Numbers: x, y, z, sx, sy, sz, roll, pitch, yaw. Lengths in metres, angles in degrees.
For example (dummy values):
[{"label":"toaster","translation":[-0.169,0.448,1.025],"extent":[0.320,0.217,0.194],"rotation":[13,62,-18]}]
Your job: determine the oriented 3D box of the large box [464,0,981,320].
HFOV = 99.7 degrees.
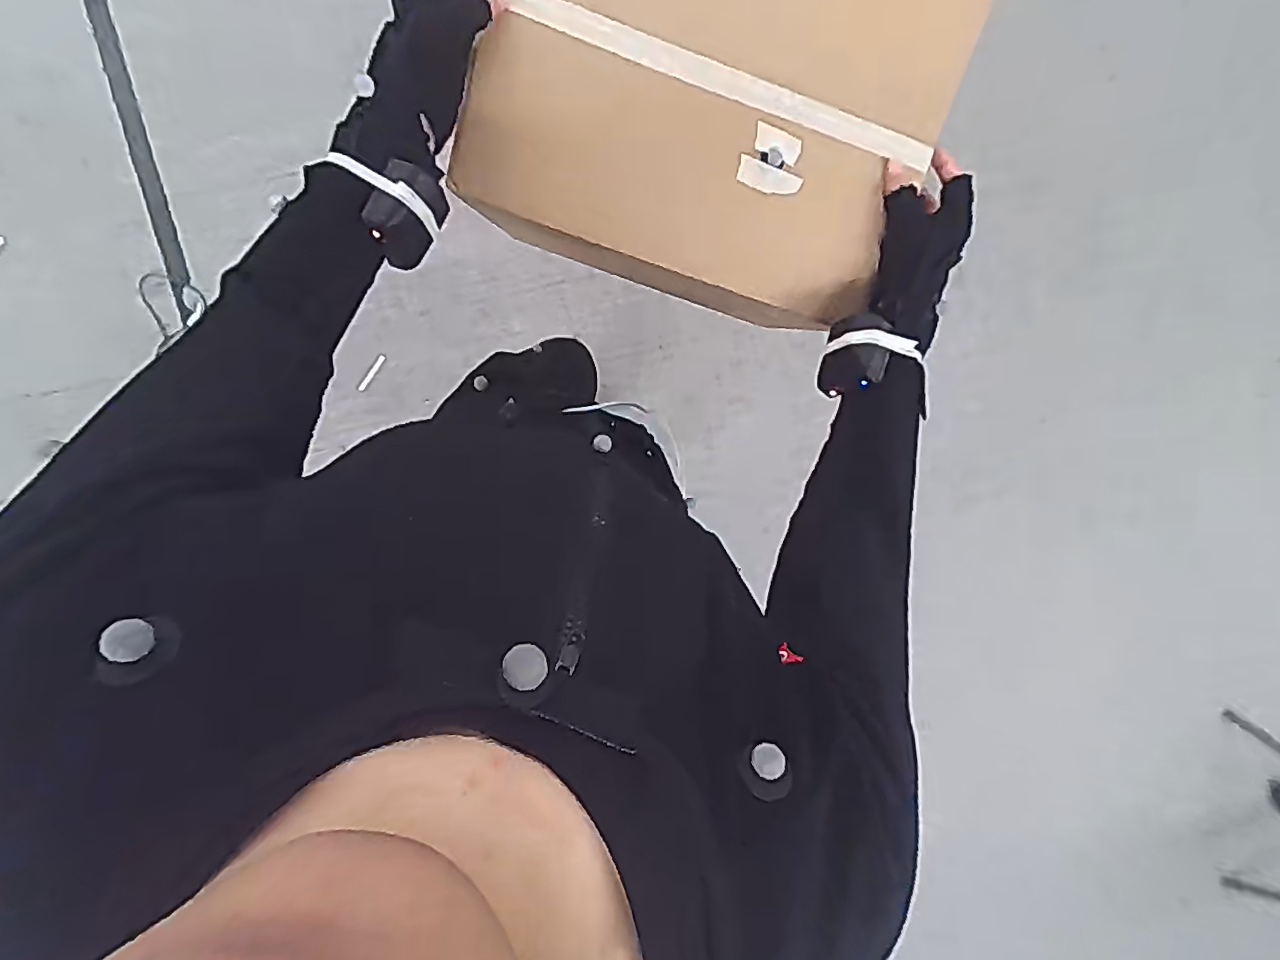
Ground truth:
[{"label":"large box","translation":[0.060,-0.394,0.620],"extent":[0.408,0.320,0.320],"rotation":[16,107,-8]}]
